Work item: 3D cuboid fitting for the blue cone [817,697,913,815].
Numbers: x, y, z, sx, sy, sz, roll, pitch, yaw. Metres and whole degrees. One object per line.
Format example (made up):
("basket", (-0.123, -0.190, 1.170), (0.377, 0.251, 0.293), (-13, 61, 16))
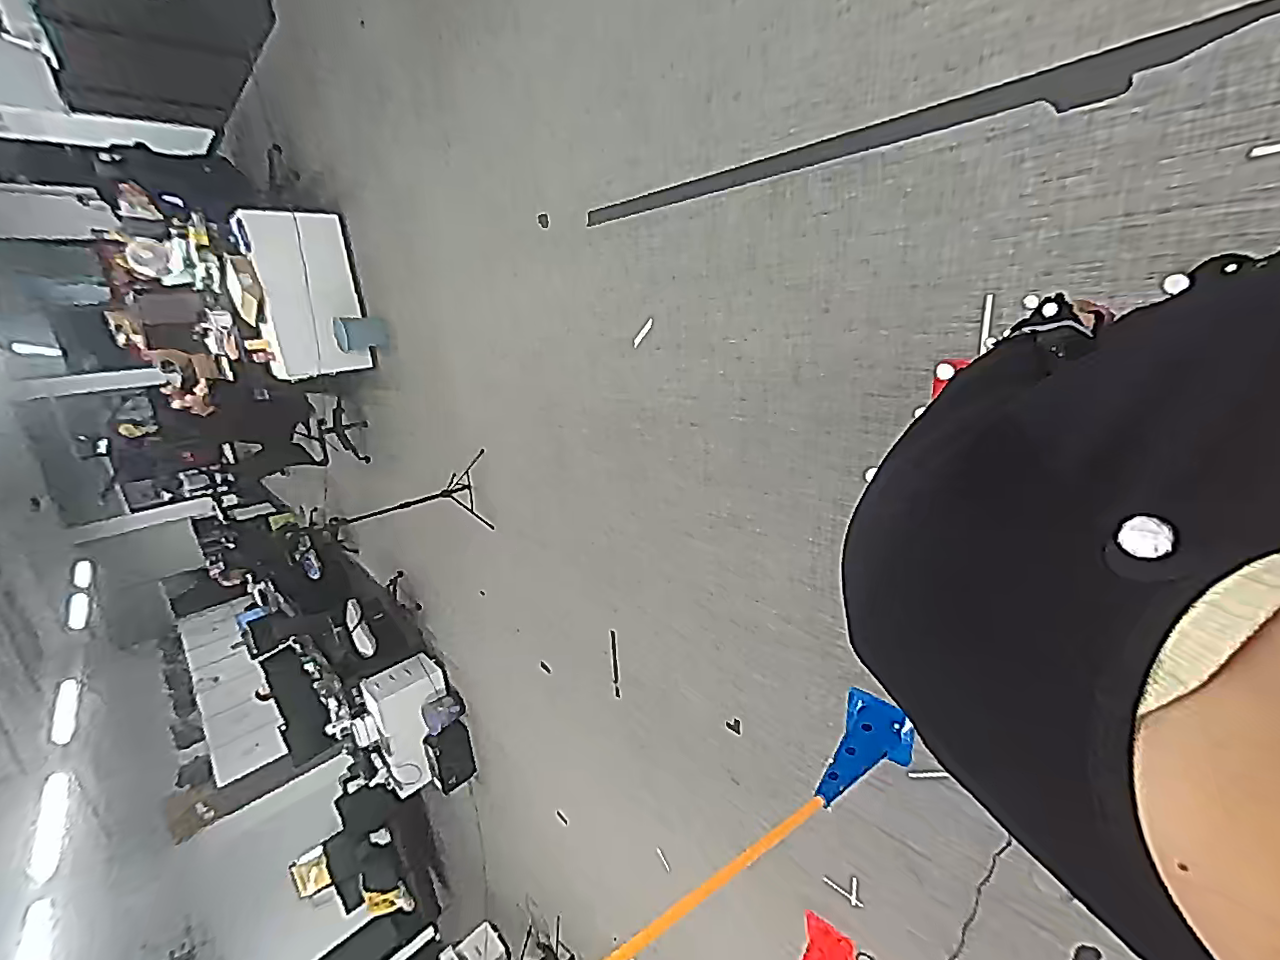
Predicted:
("blue cone", (0.617, 0.813, 1.548), (0.193, 0.380, 0.192), (18, 119, 44))

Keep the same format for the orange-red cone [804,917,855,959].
("orange-red cone", (0.609, 1.846, 1.957), (0.199, 0.360, 0.198), (7, 111, 46))
